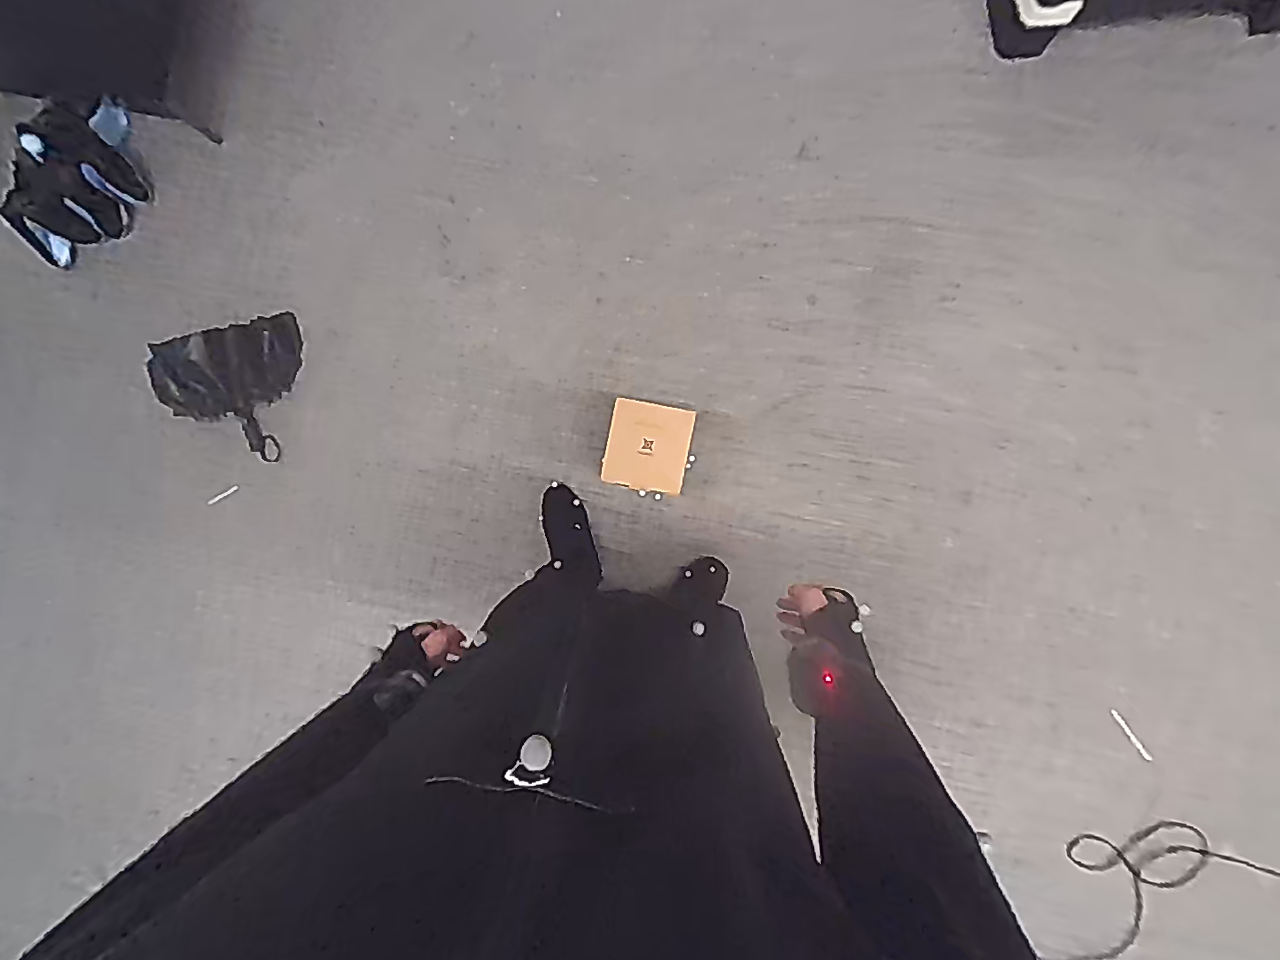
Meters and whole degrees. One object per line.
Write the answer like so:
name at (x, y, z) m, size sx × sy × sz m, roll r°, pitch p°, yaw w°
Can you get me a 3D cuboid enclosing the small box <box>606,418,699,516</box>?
small box at (0.033, -0.022, 1.161) m, size 0.168 × 0.176 × 0.179 m, roll 10°, pitch 87°, yaw 6°
